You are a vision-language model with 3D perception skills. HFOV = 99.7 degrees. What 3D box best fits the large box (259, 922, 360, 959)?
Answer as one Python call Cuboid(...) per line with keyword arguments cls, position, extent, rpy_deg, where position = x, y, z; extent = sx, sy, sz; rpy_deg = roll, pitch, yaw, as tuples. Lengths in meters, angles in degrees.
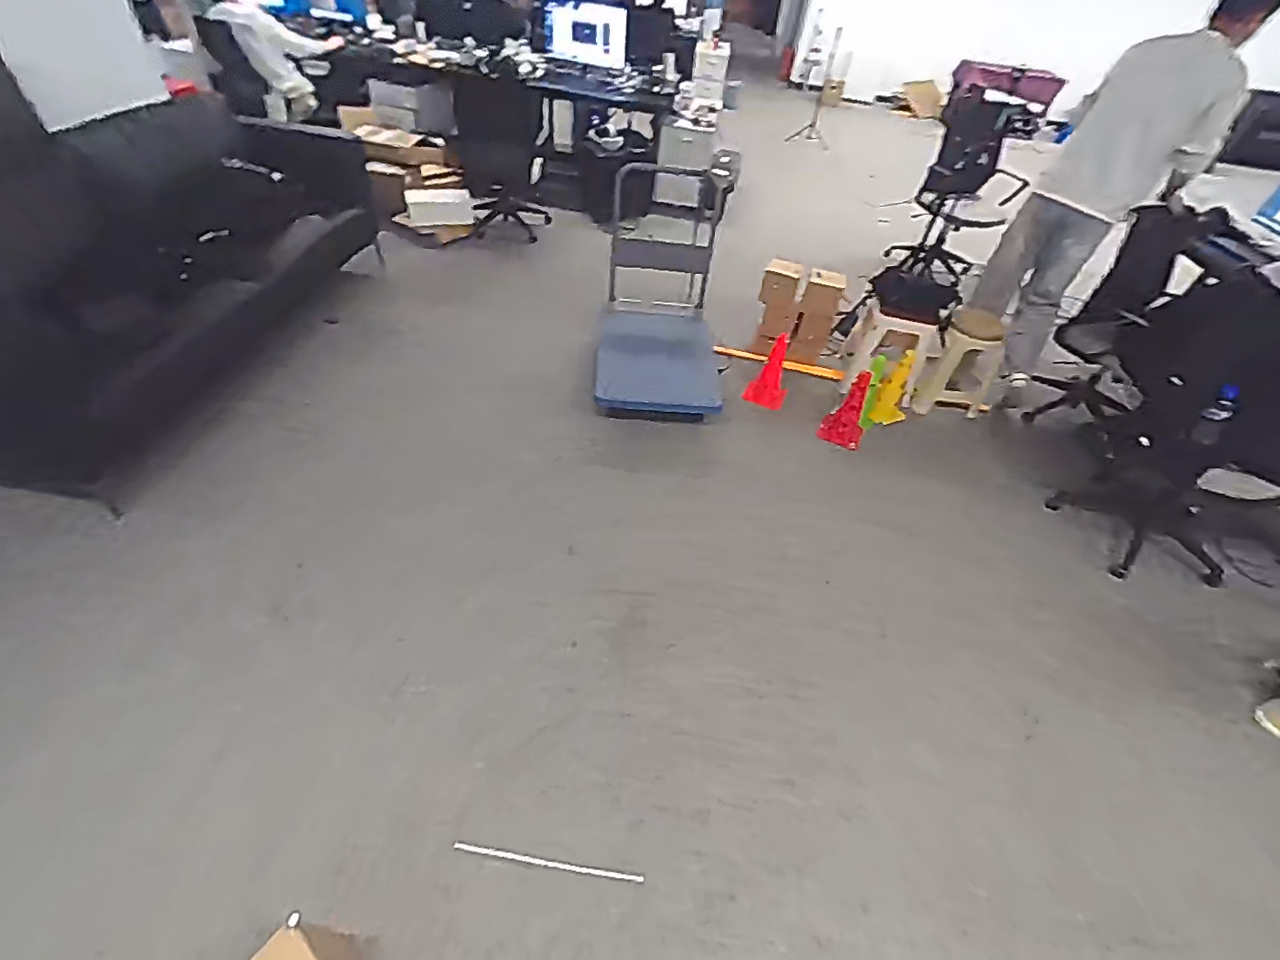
Cuboid(cls="large box", position=(-0.659, 1.119, 0.953), extent=(0.320, 0.320, 0.408), rpy_deg=(31, 49, 20))
